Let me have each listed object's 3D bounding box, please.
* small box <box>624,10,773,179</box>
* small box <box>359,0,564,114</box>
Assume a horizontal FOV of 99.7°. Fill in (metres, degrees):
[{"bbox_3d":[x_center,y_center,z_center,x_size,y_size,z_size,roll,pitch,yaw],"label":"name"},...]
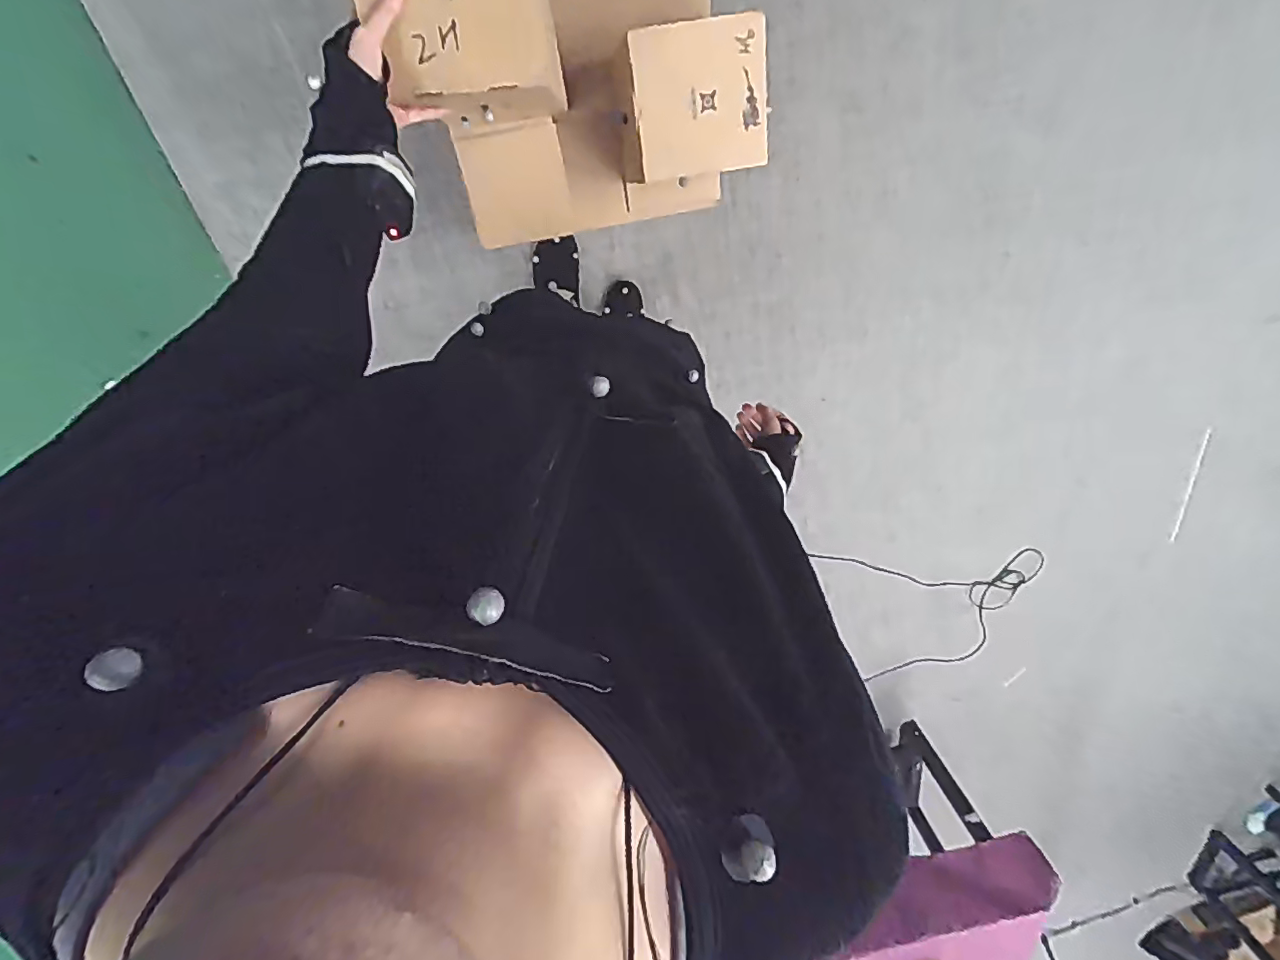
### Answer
[{"bbox_3d":[0.074,-0.523,0.755,0.179,0.176,0.168,-9,121,-3],"label":"small box"},{"bbox_3d":[-0.174,-0.489,0.547,0.168,0.176,0.179,-4,120,1],"label":"small box"}]
